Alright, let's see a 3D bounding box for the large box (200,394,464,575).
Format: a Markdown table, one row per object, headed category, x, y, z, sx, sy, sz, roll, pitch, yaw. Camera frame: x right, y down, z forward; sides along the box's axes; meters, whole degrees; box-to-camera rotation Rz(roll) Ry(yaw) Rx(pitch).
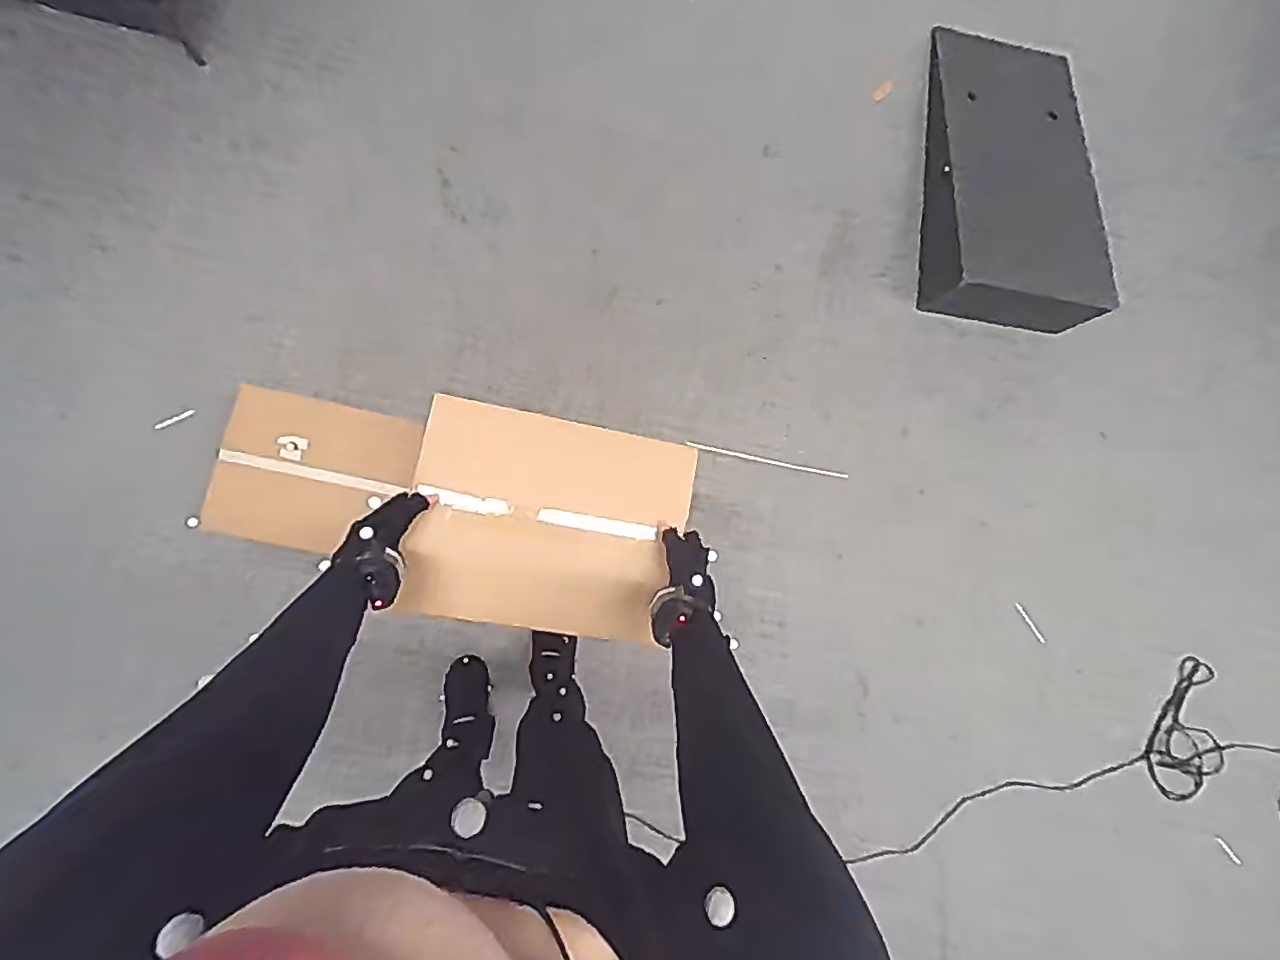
| category | x | y | z | sx | sy | sz | roll | pitch | yaw |
| --- | --- | --- | --- | --- | --- | --- | --- | --- | --- |
| large box | -0.670 | 0.025 | 1.258 | 0.408 | 0.320 | 0.320 | 13 | 81 | -4 |
